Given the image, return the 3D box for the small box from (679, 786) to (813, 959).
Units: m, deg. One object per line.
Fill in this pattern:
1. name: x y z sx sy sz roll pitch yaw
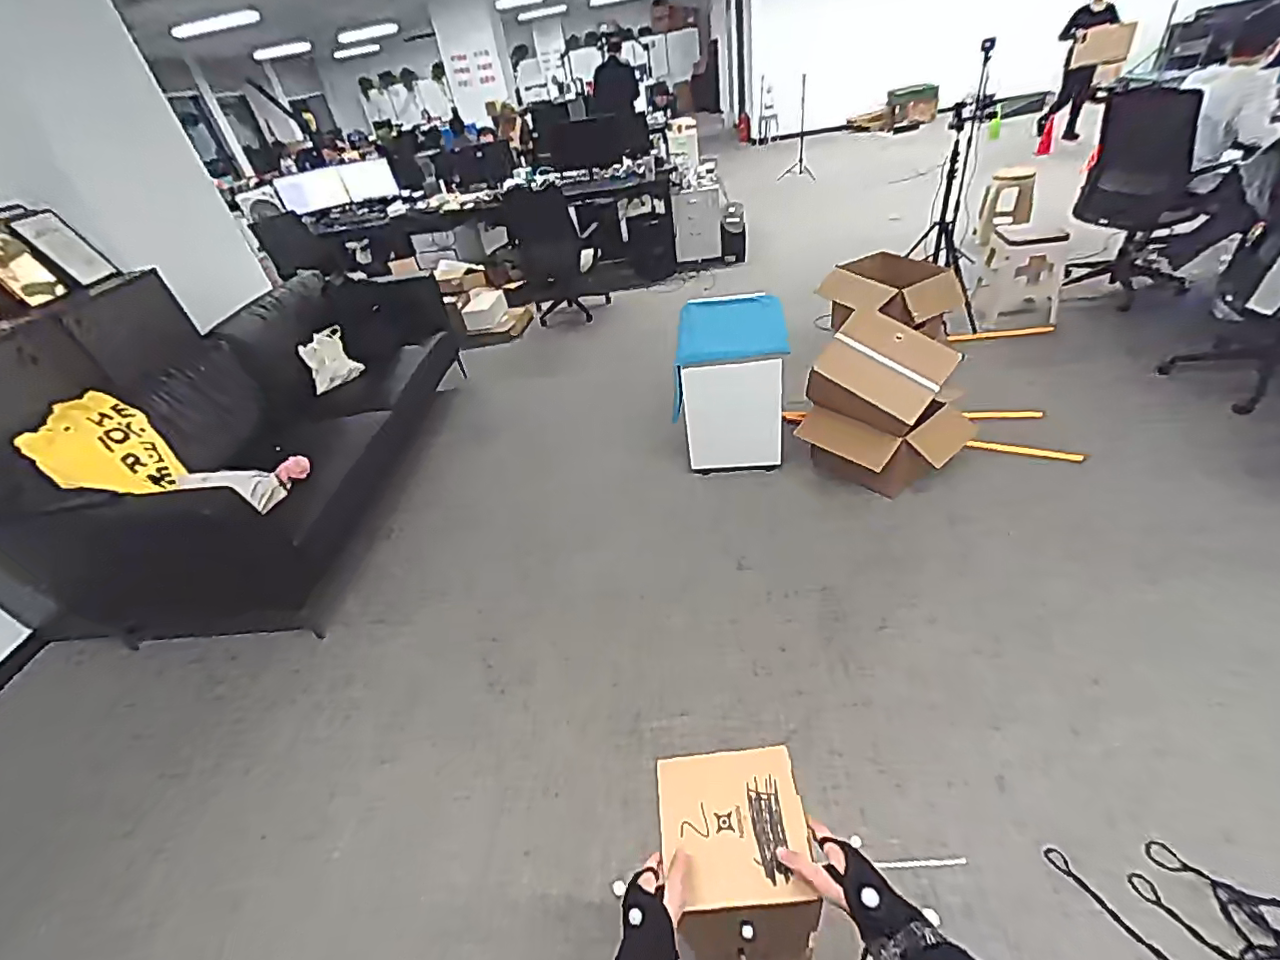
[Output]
1. small box: 0.152 0.589 0.807 0.168 0.176 0.179 -8 39 6
